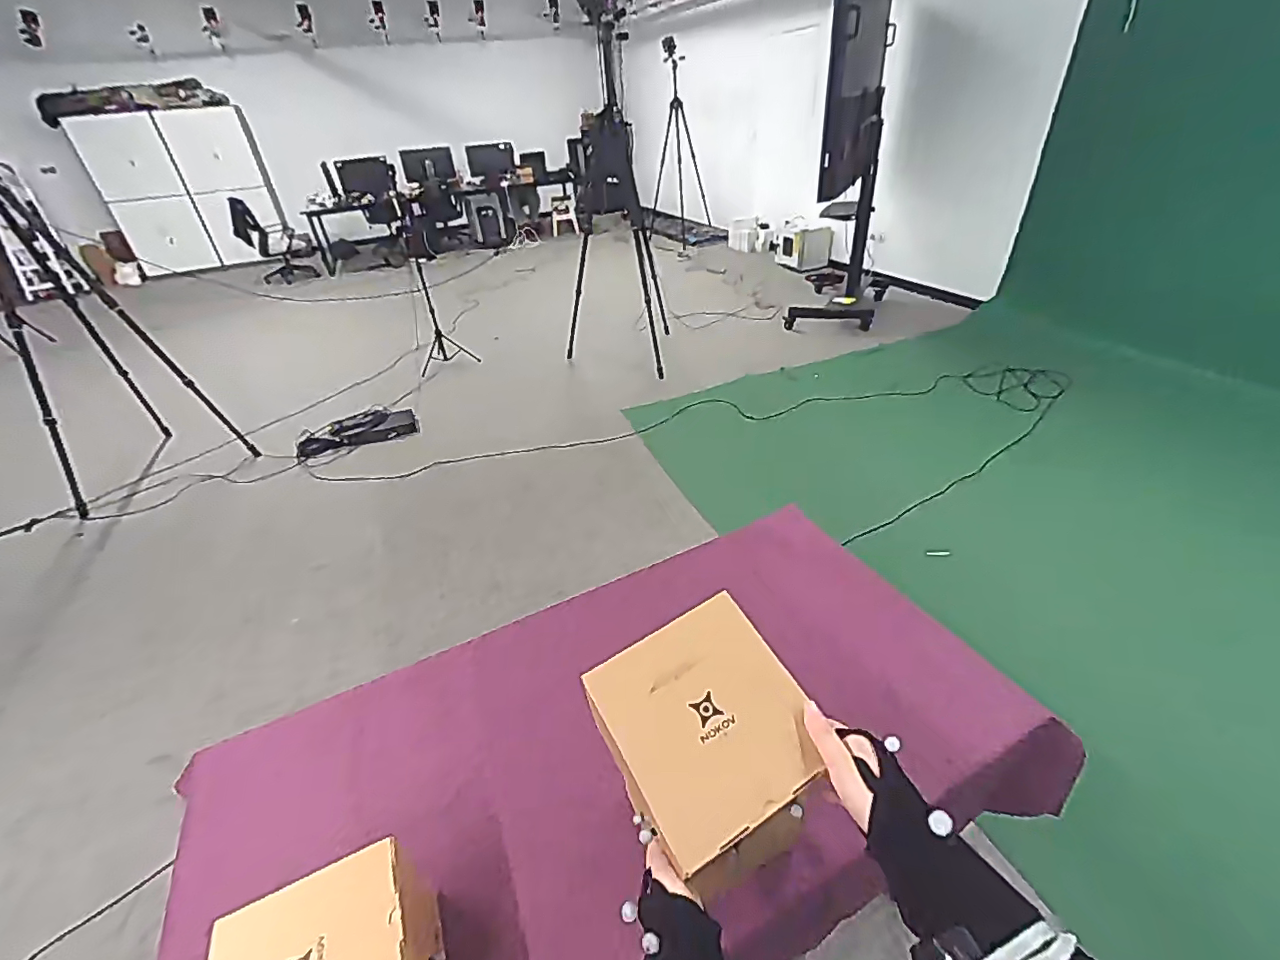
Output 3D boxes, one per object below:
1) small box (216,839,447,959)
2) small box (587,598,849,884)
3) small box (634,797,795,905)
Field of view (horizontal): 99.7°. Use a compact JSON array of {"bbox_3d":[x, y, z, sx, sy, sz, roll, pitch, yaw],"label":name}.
[{"bbox_3d":[-0.309,0.531,0.561,0.179,0.176,0.168,-18,37,-20],"label":"small box"},{"bbox_3d":[0.065,0.255,0.532,0.168,0.176,0.179,-26,56,-17],"label":"small box"},{"bbox_3d":[0.088,0.397,0.698,0.179,0.176,0.168,-18,37,-17],"label":"small box"}]
